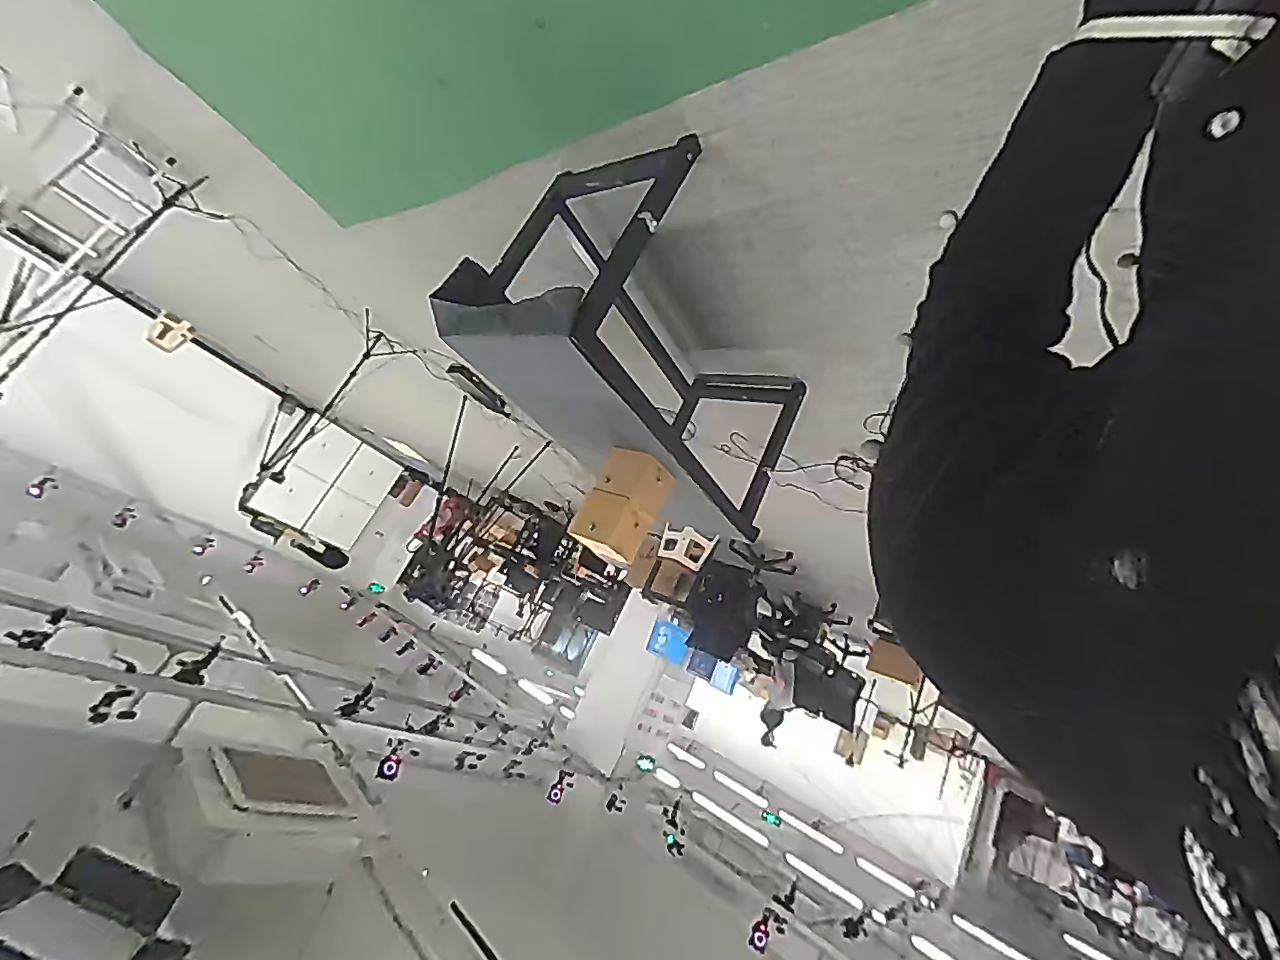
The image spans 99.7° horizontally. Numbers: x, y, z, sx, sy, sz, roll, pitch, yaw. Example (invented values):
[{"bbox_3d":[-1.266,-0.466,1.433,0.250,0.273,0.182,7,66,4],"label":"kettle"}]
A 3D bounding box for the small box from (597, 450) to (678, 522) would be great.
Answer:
[{"bbox_3d":[-0.005,0.015,1.811,0.179,0.176,0.168,13,159,40],"label":"small box"}]

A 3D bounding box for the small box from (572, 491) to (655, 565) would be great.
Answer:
[{"bbox_3d":[-0.083,0.151,1.770,0.179,0.176,0.168,13,158,39],"label":"small box"}]
